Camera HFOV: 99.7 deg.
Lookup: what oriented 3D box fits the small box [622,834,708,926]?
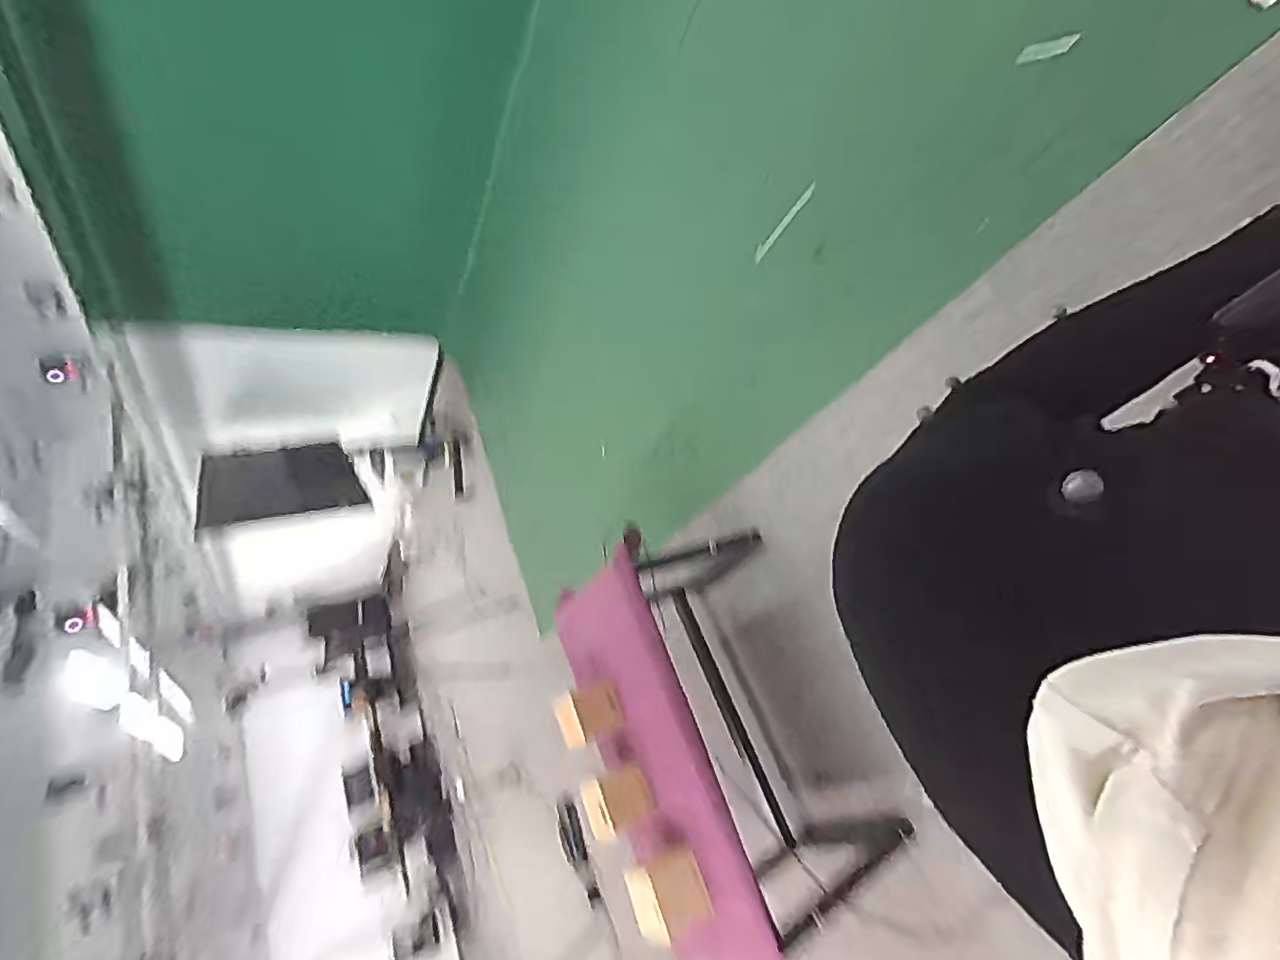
[{"bbox_3d":[0.076,1.205,1.643,0.179,0.176,0.168,-47,60,48],"label":"small box"}]

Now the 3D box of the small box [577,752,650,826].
[{"bbox_3d":[-0.084,1.044,1.833,0.179,0.176,0.168,-49,58,48],"label":"small box"}]

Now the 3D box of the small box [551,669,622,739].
[{"bbox_3d":[-0.191,0.799,1.932,0.179,0.176,0.168,-49,59,46],"label":"small box"}]
